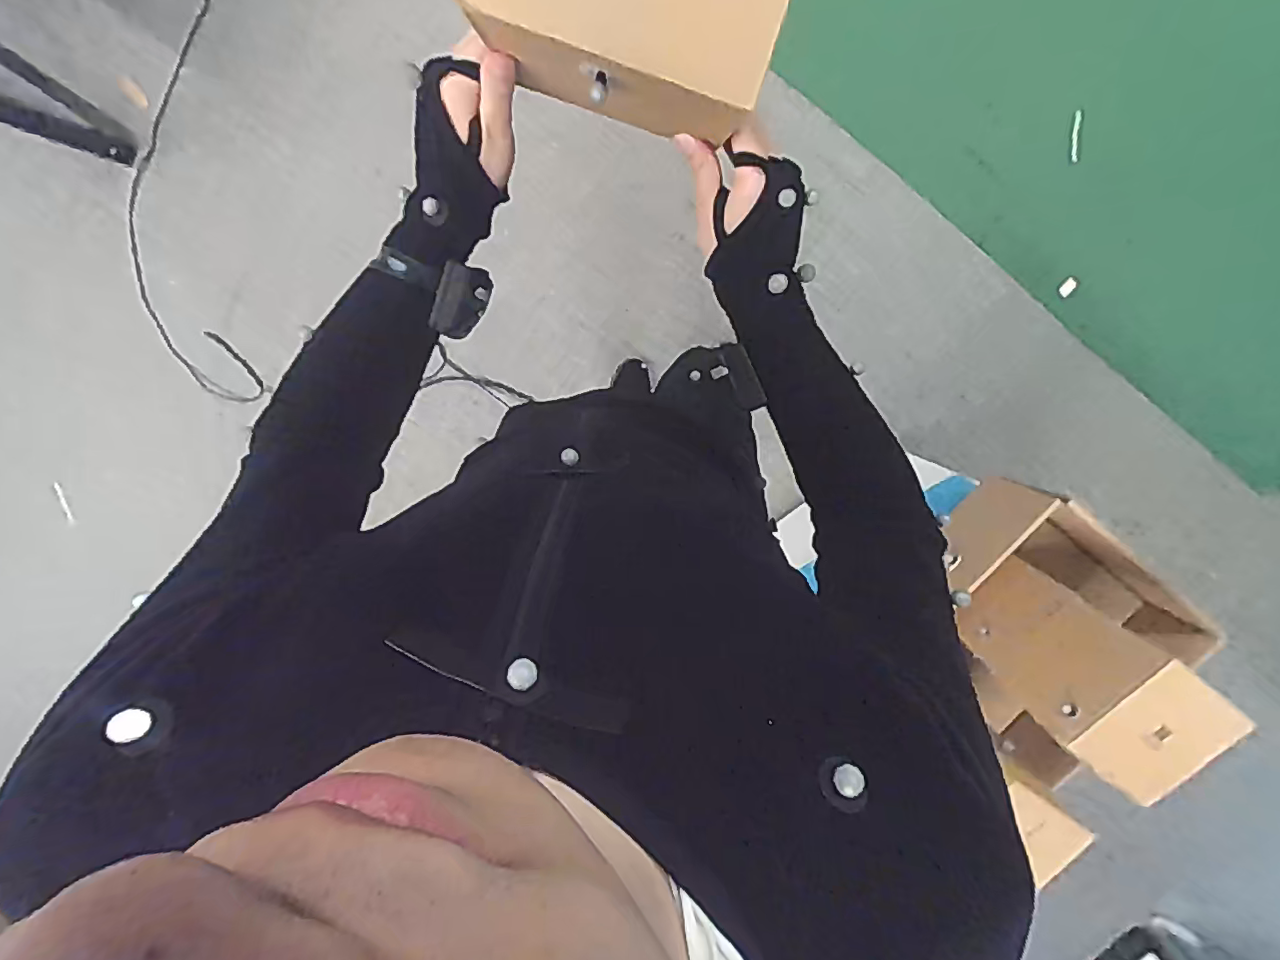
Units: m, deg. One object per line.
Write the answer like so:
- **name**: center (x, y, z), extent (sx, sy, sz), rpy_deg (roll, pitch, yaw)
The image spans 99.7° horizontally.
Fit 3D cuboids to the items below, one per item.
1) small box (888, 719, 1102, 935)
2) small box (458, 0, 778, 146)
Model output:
- **small box**: center (0.505, 0.504, 0.806), extent (0.168, 0.176, 0.179), rpy_deg (36, 100, -8)
- **small box**: center (-0.002, -0.333, 0.337), extent (0.179, 0.176, 0.168), rpy_deg (15, 112, -8)
